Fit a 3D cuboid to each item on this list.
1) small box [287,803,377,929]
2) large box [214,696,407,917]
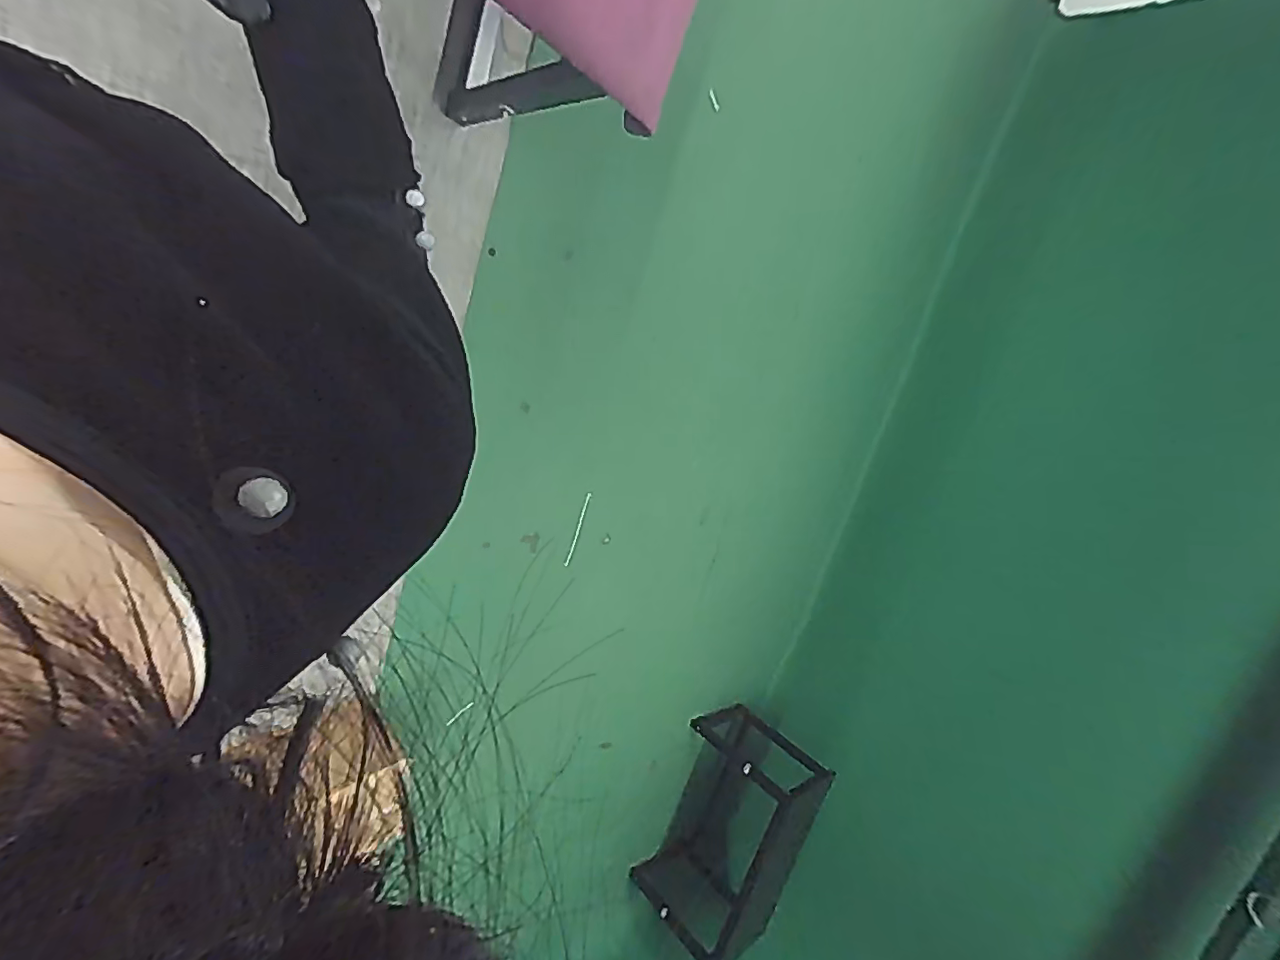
[{"bbox_3d":[-0.796,0.974,1.390,0.168,0.176,0.179,-5,112,-44],"label":"small box"},{"bbox_3d":[-0.949,0.917,1.579,0.408,0.320,0.320,-13,120,-43],"label":"large box"}]
